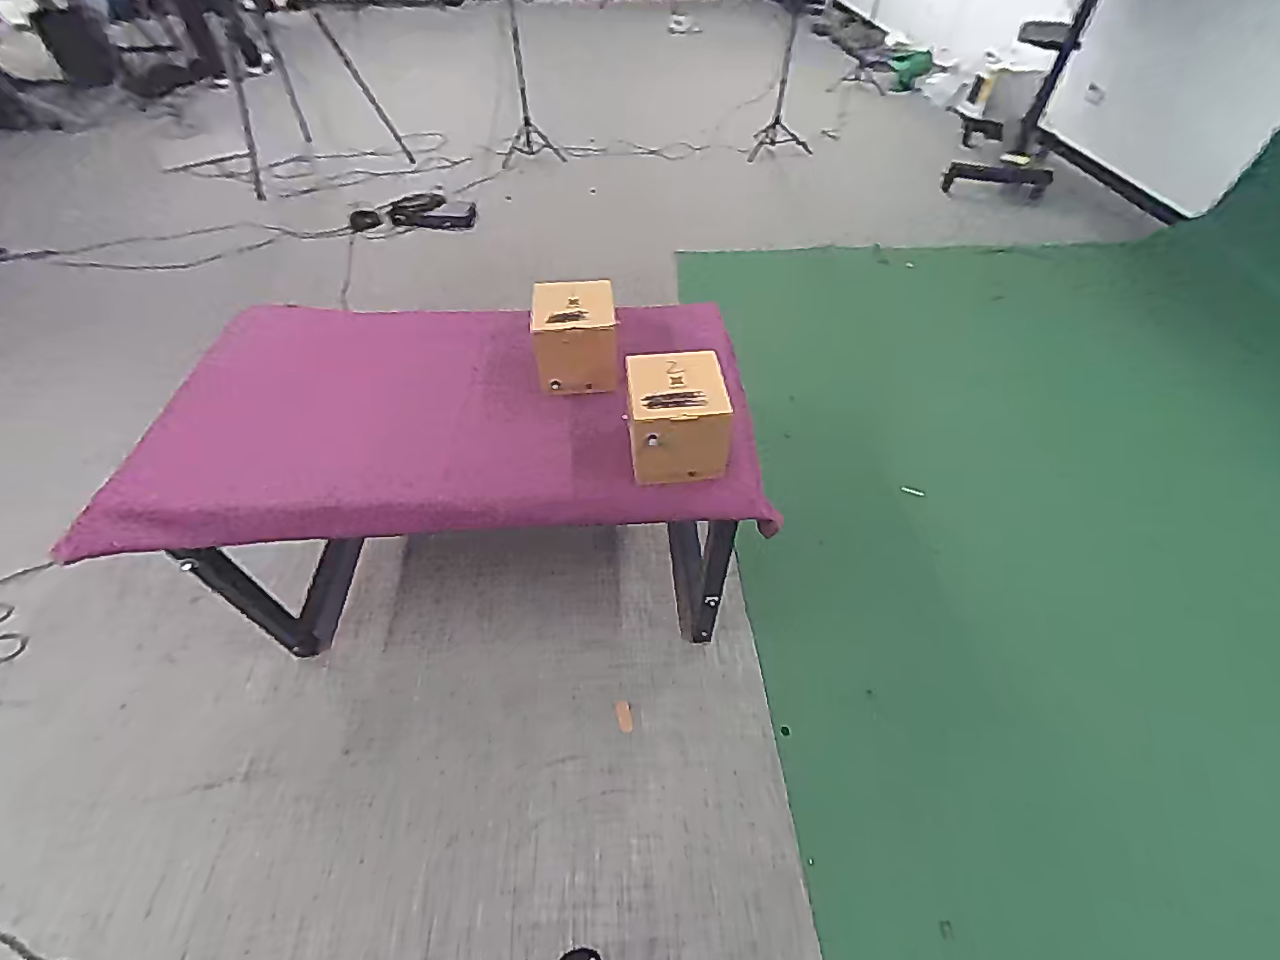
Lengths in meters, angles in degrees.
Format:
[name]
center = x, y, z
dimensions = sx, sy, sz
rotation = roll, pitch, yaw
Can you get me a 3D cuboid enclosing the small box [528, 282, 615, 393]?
[small box]
center = -0.142, -0.301, 1.162
dimensions = 0.168, 0.176, 0.179
rotation = -4, 49, -4
